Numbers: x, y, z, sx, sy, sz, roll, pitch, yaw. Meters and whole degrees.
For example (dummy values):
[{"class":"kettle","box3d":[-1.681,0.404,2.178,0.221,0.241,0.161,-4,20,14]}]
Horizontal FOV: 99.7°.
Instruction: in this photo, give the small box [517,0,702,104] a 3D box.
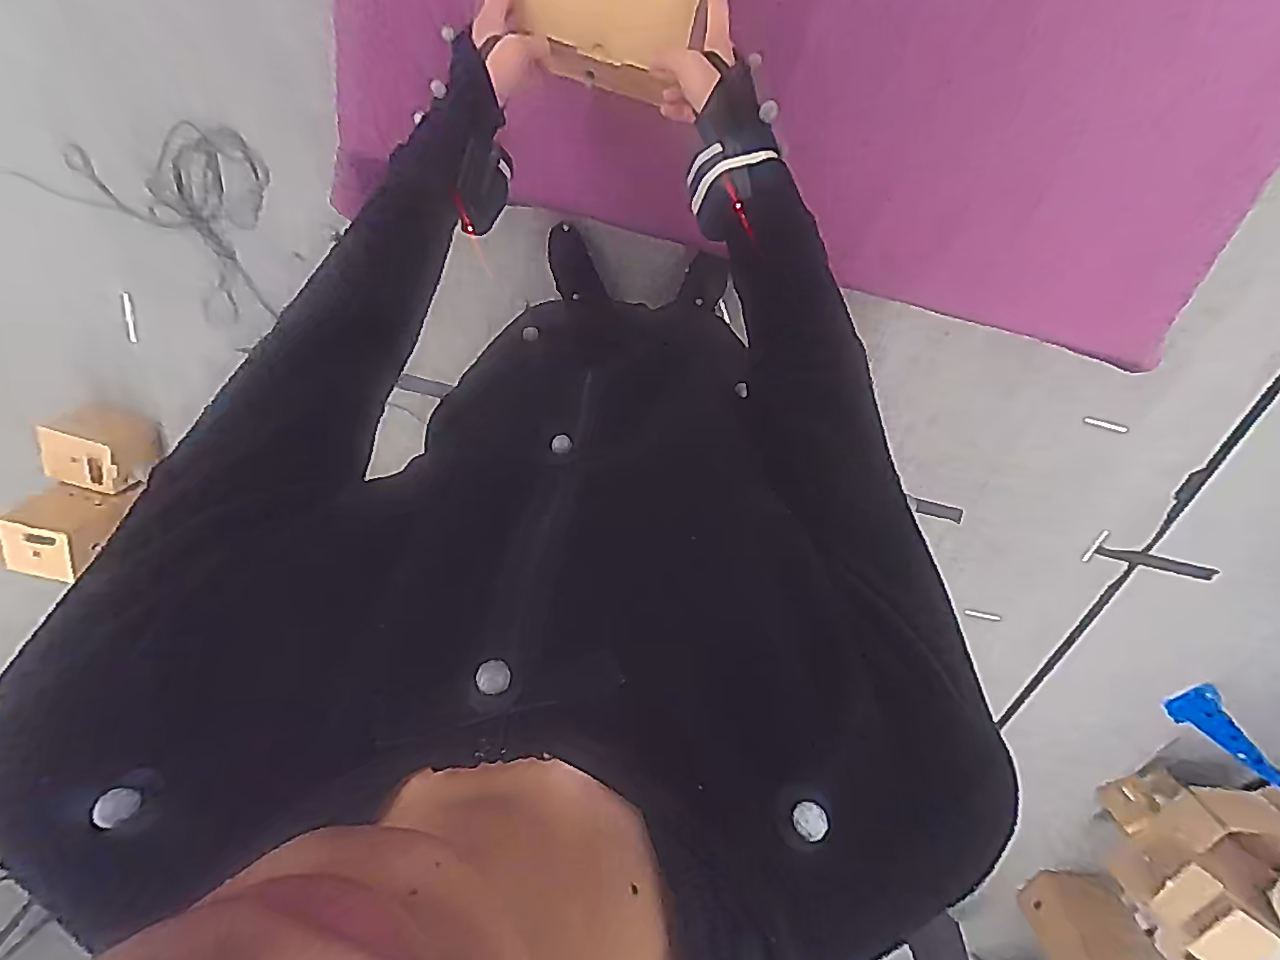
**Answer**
[{"class":"small box","box3d":[-0.021,-0.517,0.552,0.168,0.176,0.179,12,118,-8]}]

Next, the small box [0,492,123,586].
[{"class":"small box","box3d":[-1.590,0.158,1.494,0.168,0.176,0.179,17,118,-10]}]
